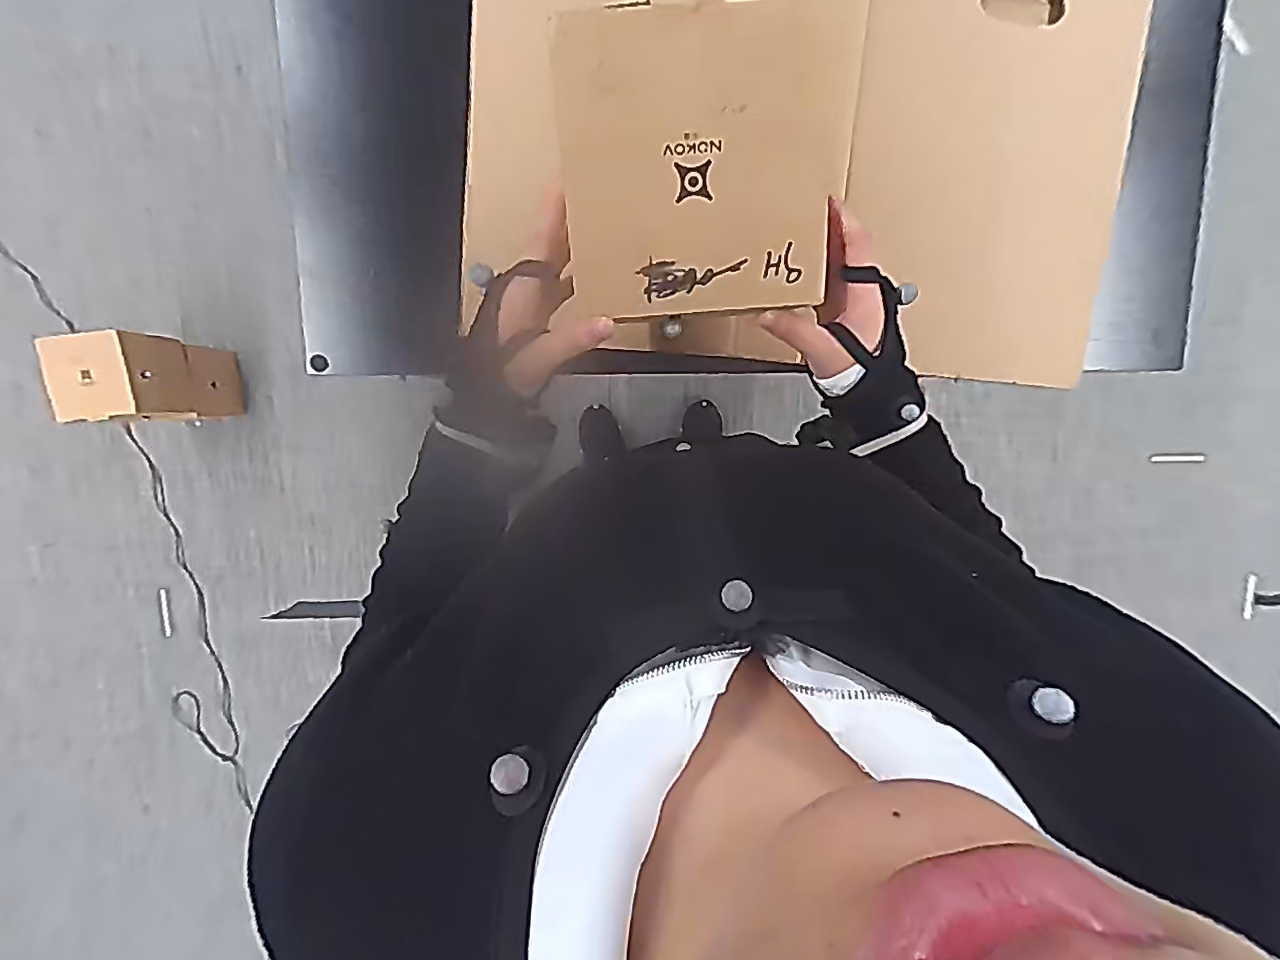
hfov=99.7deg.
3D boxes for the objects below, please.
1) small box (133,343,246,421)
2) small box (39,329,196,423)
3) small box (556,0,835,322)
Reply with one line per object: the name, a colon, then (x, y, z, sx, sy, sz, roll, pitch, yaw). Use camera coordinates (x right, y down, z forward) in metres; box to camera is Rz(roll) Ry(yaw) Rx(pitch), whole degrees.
small box: (-1.132, -0.240, 1.348, 0.168, 0.176, 0.179, -5, 99, -1)
small box: (-1.129, -0.223, 1.186, 0.168, 0.176, 0.179, -8, 97, -1)
small box: (0.036, -0.217, 0.409, 0.168, 0.176, 0.179, -3, 105, 2)
